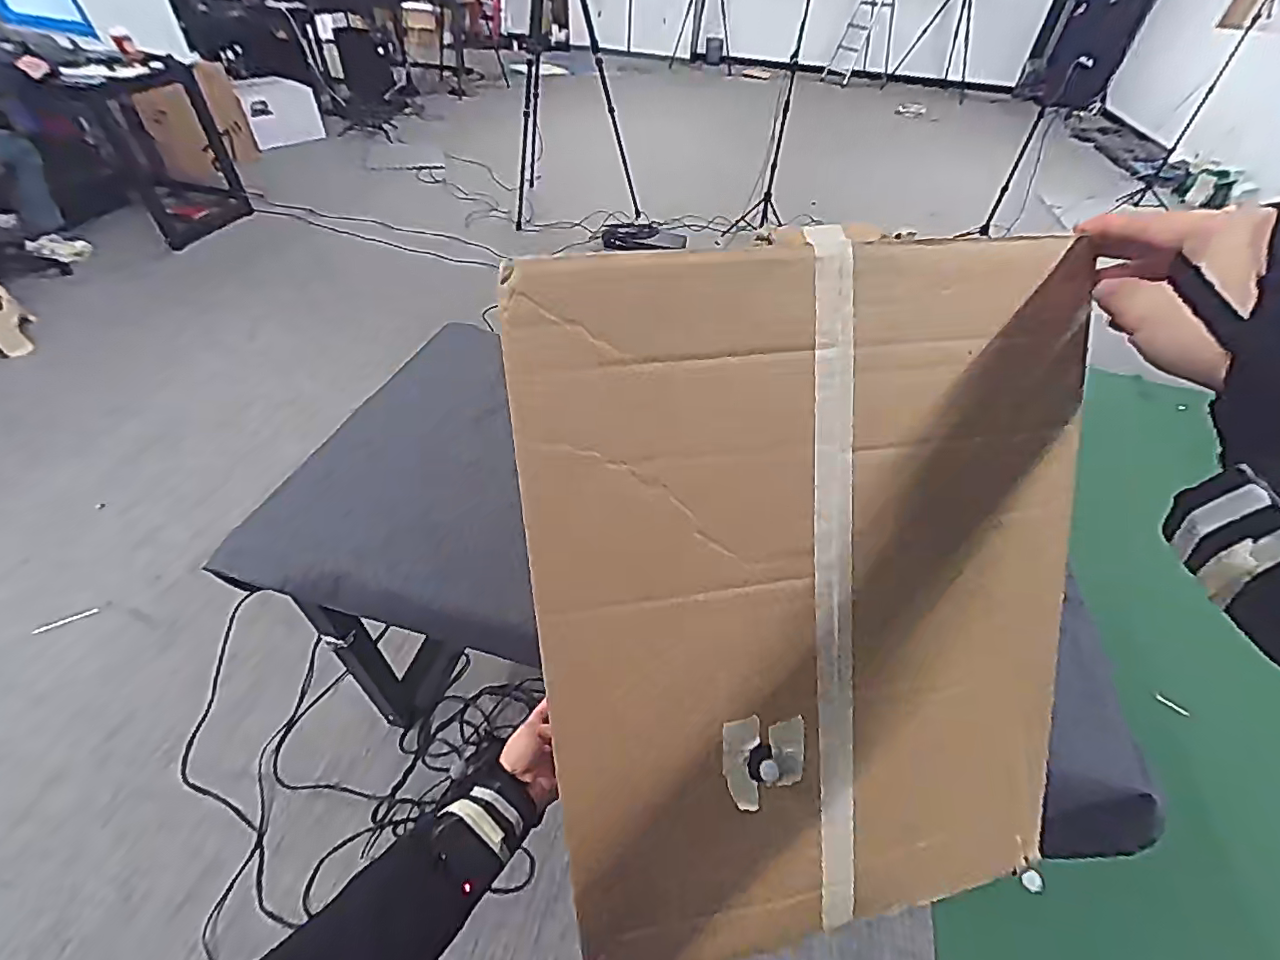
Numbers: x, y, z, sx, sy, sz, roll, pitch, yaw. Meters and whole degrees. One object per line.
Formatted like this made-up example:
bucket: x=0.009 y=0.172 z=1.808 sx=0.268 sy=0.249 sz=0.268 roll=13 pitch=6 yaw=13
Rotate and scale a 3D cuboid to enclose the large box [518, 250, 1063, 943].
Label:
large box: x=0.079 y=0.049 z=0.465 sx=0.320 sy=0.408 sz=0.320 roll=-7 pitch=14 yaw=-11
